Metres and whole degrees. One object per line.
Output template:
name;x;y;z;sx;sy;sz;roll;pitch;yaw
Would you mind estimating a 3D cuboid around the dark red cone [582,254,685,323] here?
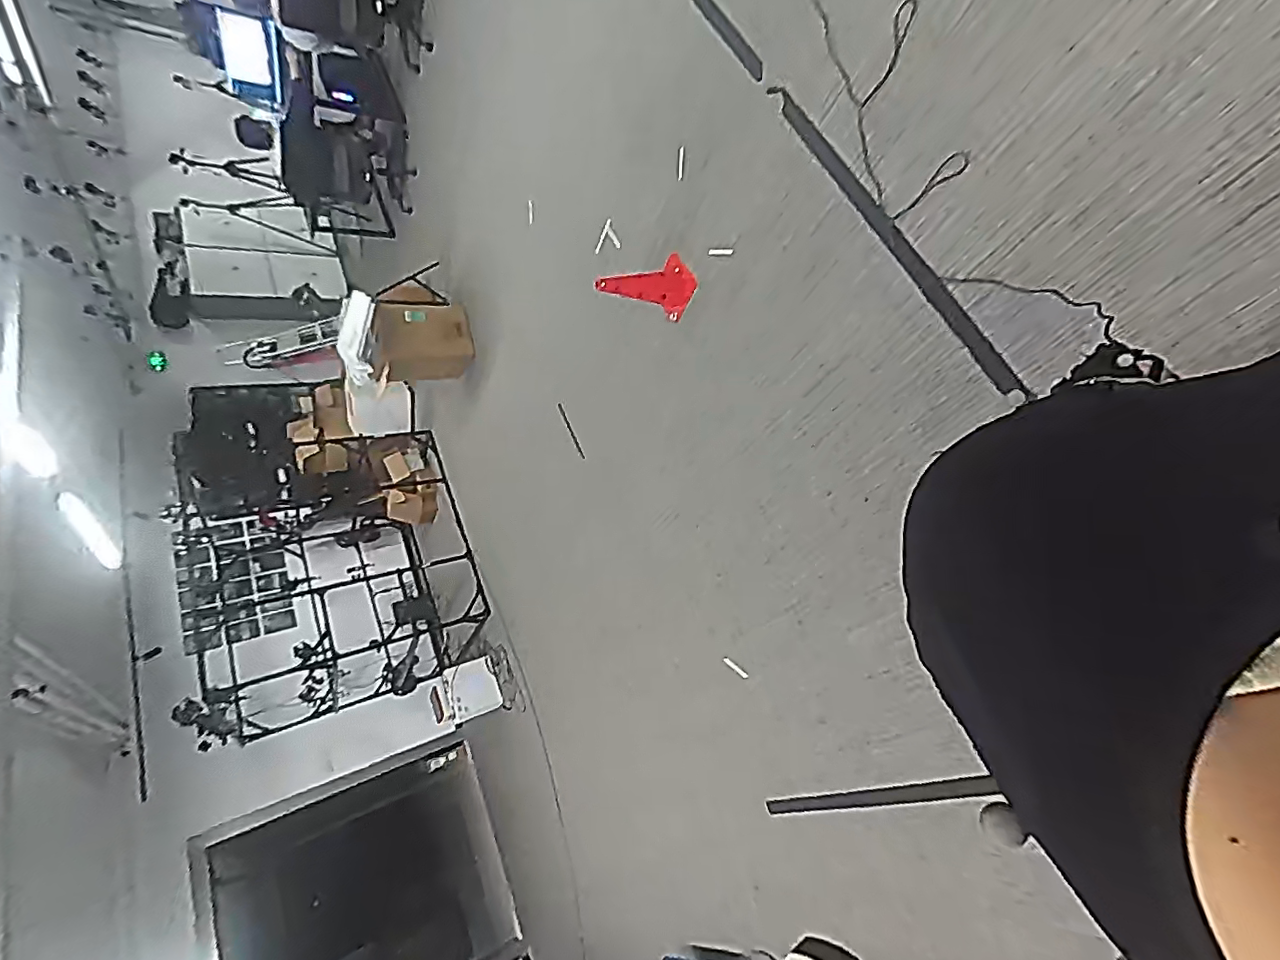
dark red cone;-0.038;-0.721;2.007;0.202;0.394;0.201;60;140;27
